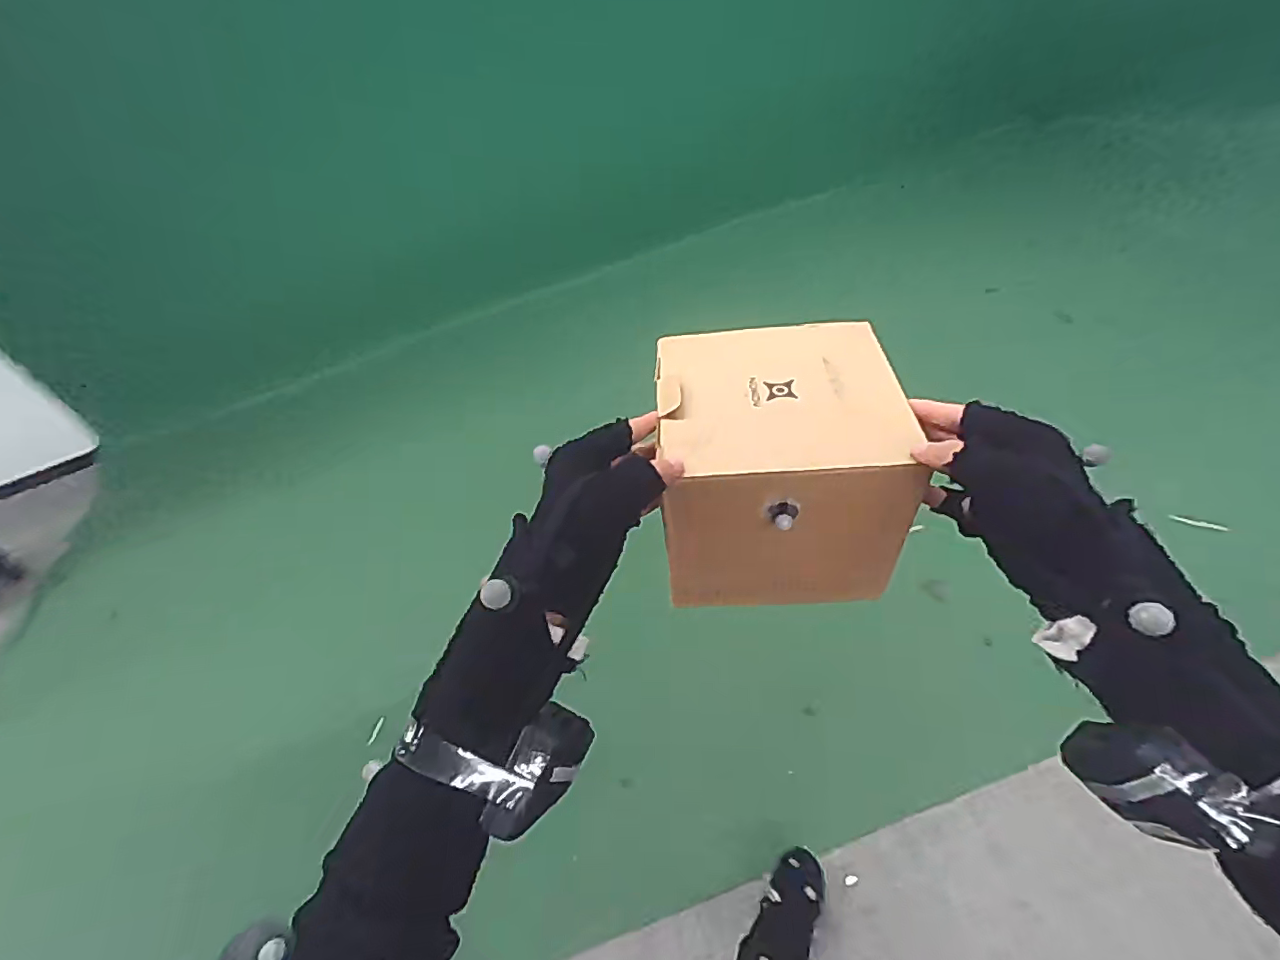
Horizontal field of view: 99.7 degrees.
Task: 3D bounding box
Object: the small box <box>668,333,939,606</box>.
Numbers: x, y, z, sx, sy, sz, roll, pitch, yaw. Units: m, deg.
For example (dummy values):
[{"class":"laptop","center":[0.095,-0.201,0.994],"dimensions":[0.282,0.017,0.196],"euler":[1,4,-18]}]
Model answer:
[{"class":"small box","center":[0.116,-0.005,0.461],"dimensions":[0.179,0.176,0.168],"euler":[-2,47,5]}]
